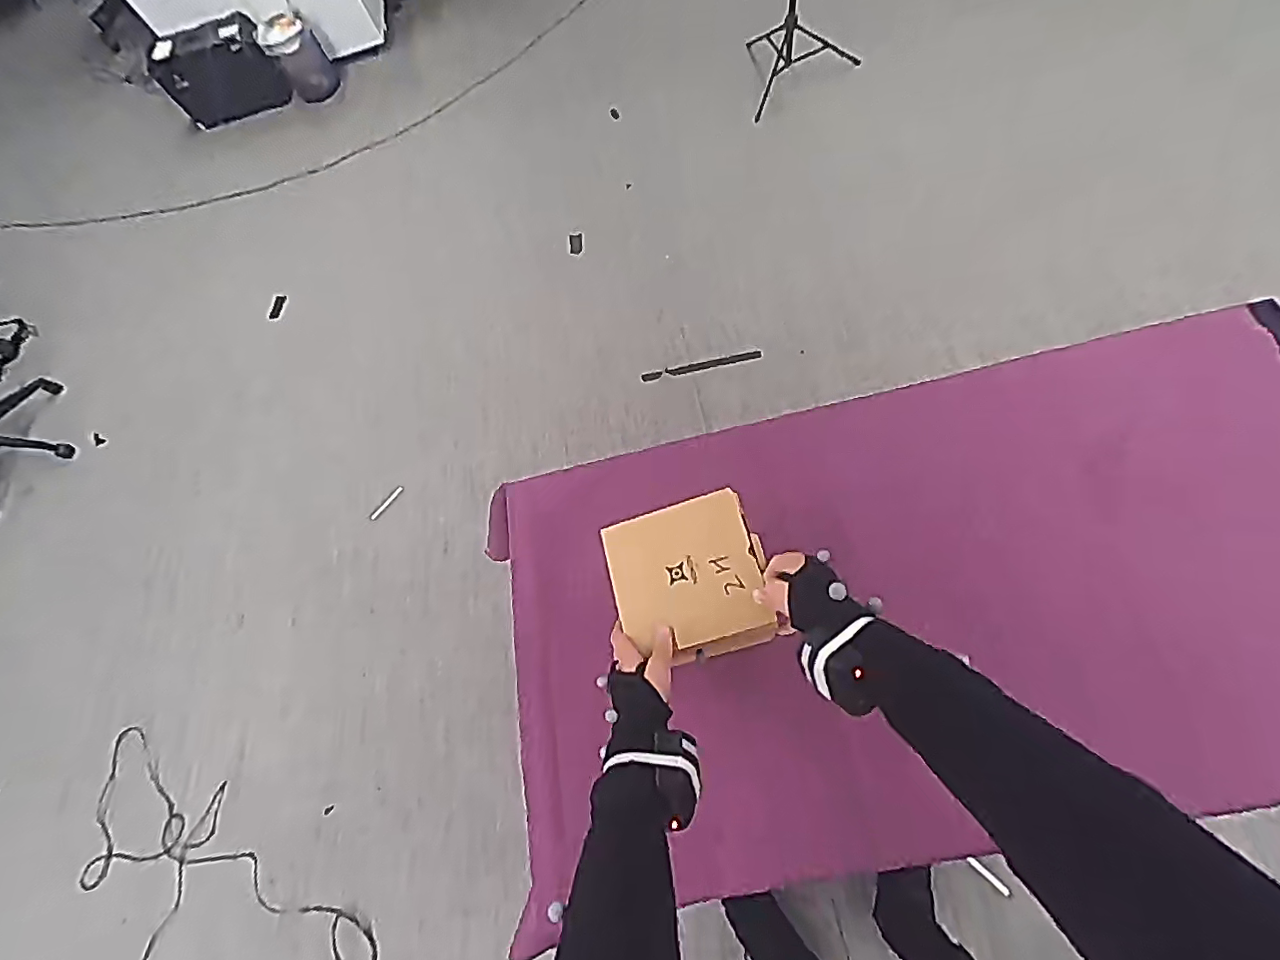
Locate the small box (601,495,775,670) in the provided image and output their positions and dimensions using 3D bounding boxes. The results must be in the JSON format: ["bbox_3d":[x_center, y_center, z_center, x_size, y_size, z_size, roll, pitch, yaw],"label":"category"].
[{"bbox_3d":[0.064,0.143,0.704,0.179,0.176,0.168,-16,66,3],"label":"small box"}]
